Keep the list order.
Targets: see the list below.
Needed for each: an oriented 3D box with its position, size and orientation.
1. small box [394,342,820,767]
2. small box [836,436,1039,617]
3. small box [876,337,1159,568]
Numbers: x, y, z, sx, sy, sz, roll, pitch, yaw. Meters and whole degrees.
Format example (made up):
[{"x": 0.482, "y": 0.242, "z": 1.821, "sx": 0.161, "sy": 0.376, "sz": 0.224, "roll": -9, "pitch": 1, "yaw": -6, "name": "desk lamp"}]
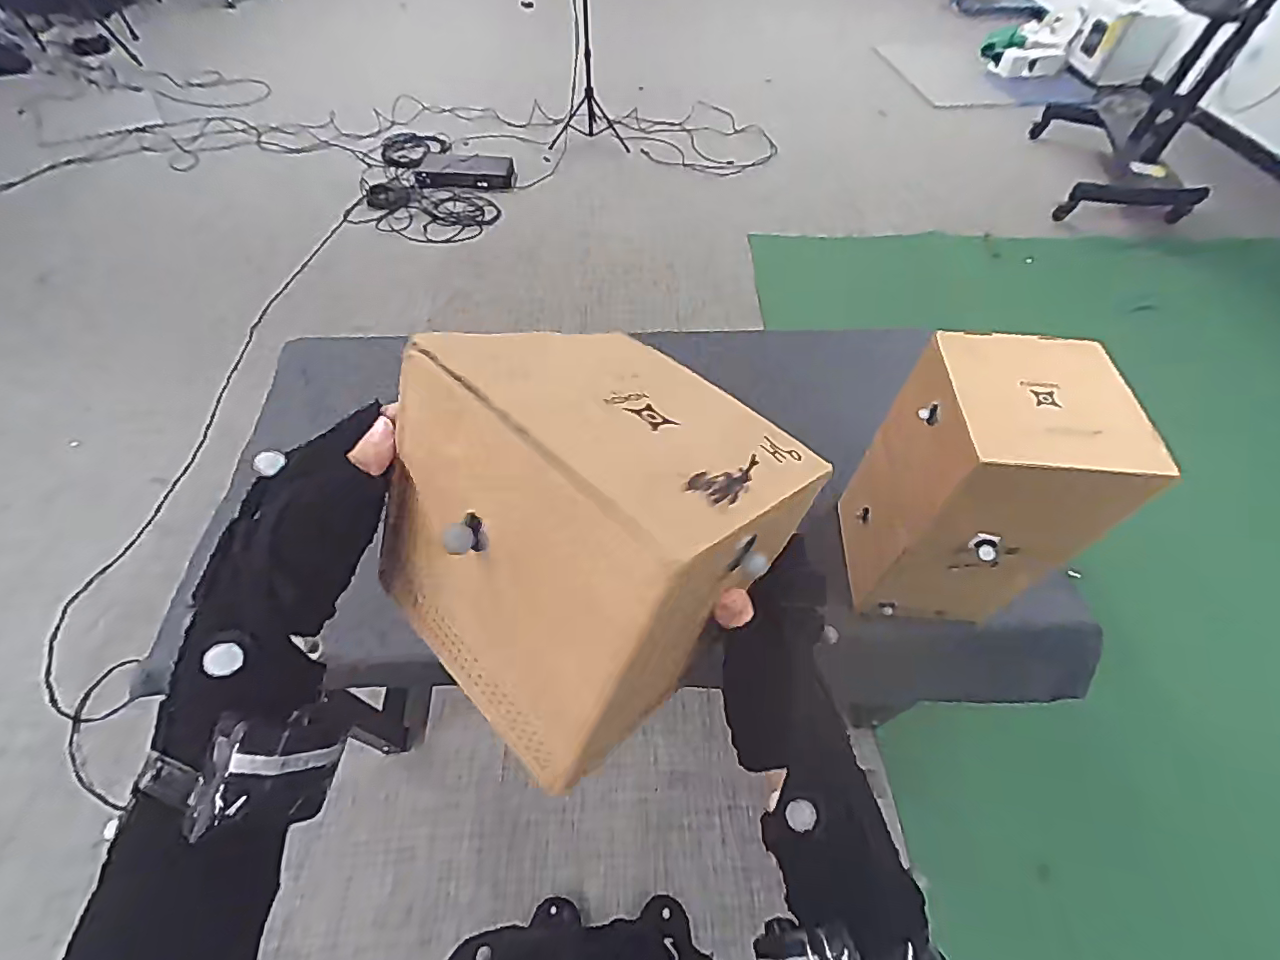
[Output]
[{"x": -0.027, "y": 0.029, "z": 0.336, "sx": 0.179, "sy": 0.176, "sz": 0.168, "roll": 36, "pitch": 31, "yaw": 23, "name": "small box"}, {"x": 0.371, "y": 0.066, "z": 0.712, "sx": 0.168, "sy": 0.176, "sz": 0.179, "roll": 5, "pitch": 53, "yaw": 2, "name": "small box"}, {"x": 0.372, "y": -0.026, "z": 0.579, "sx": 0.168, "sy": 0.176, "sz": 0.179, "roll": 5, "pitch": 55, "yaw": 3, "name": "small box"}]
